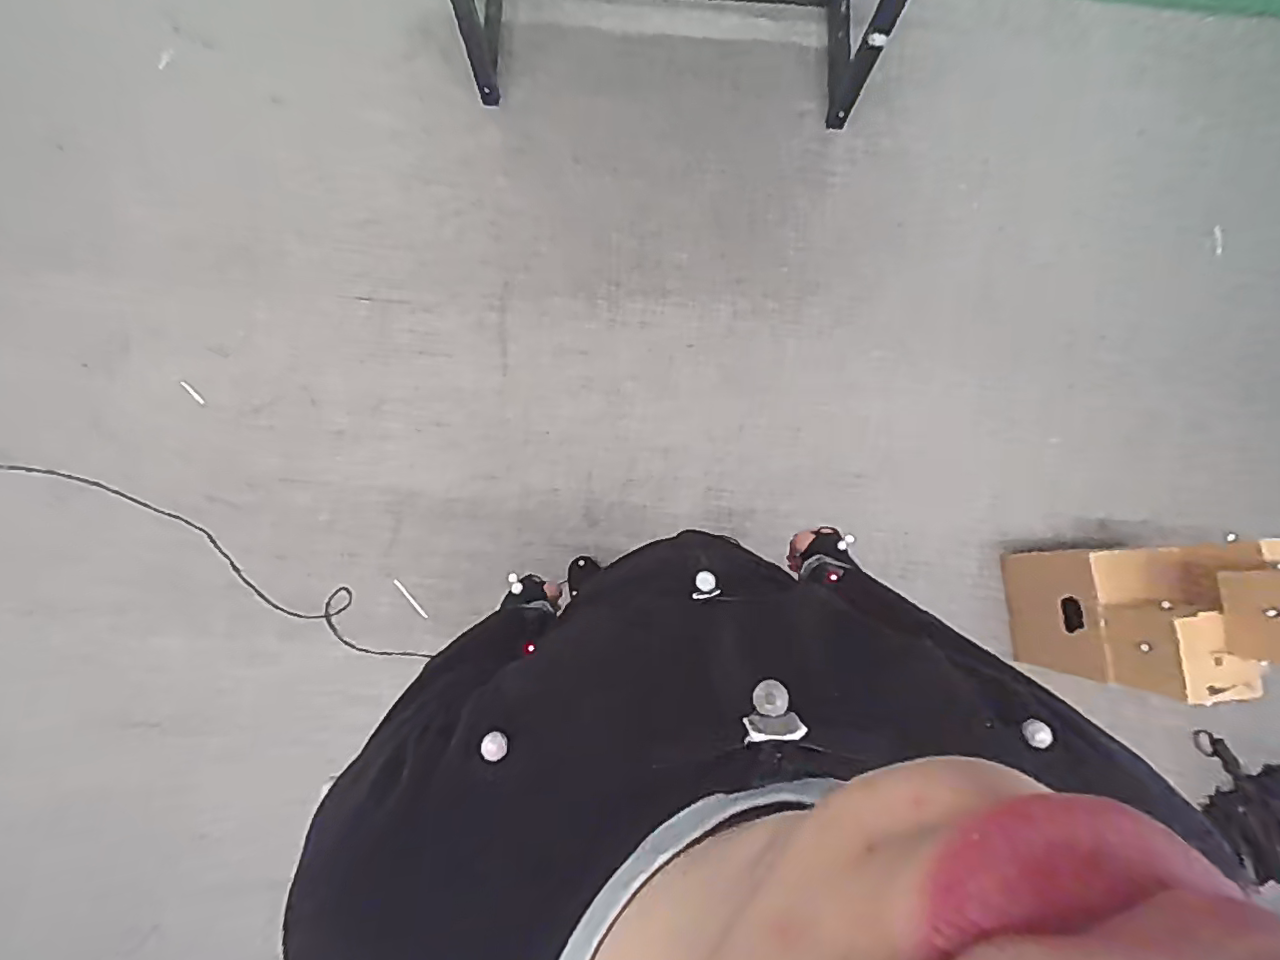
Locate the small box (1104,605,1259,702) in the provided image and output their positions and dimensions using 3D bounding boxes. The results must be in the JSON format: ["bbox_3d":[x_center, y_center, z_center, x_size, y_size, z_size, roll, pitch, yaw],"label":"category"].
[{"bbox_3d":[1.185,0.375,1.199,0.168,0.176,0.179,-4,83,-3],"label":"small box"}]

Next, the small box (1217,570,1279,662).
[{"bbox_3d":[1.298,0.267,1.053,0.168,0.176,0.179,1,80,-3],"label":"small box"}]
